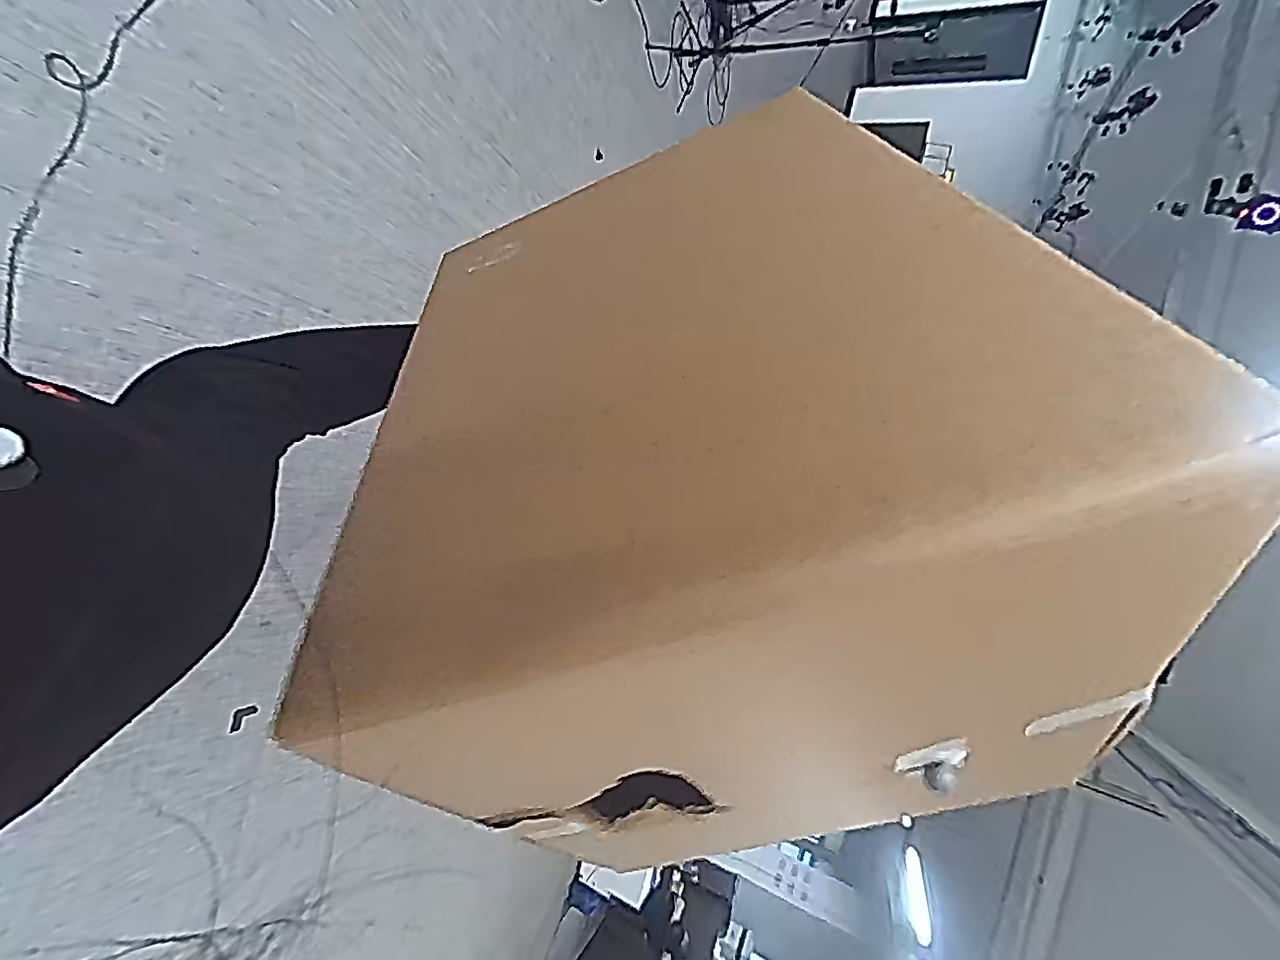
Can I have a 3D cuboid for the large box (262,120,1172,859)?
[{"bbox_3d":[0.043,-0.003,0.404,0.408,0.320,0.320,-95,164,-45],"label":"large box"}]
